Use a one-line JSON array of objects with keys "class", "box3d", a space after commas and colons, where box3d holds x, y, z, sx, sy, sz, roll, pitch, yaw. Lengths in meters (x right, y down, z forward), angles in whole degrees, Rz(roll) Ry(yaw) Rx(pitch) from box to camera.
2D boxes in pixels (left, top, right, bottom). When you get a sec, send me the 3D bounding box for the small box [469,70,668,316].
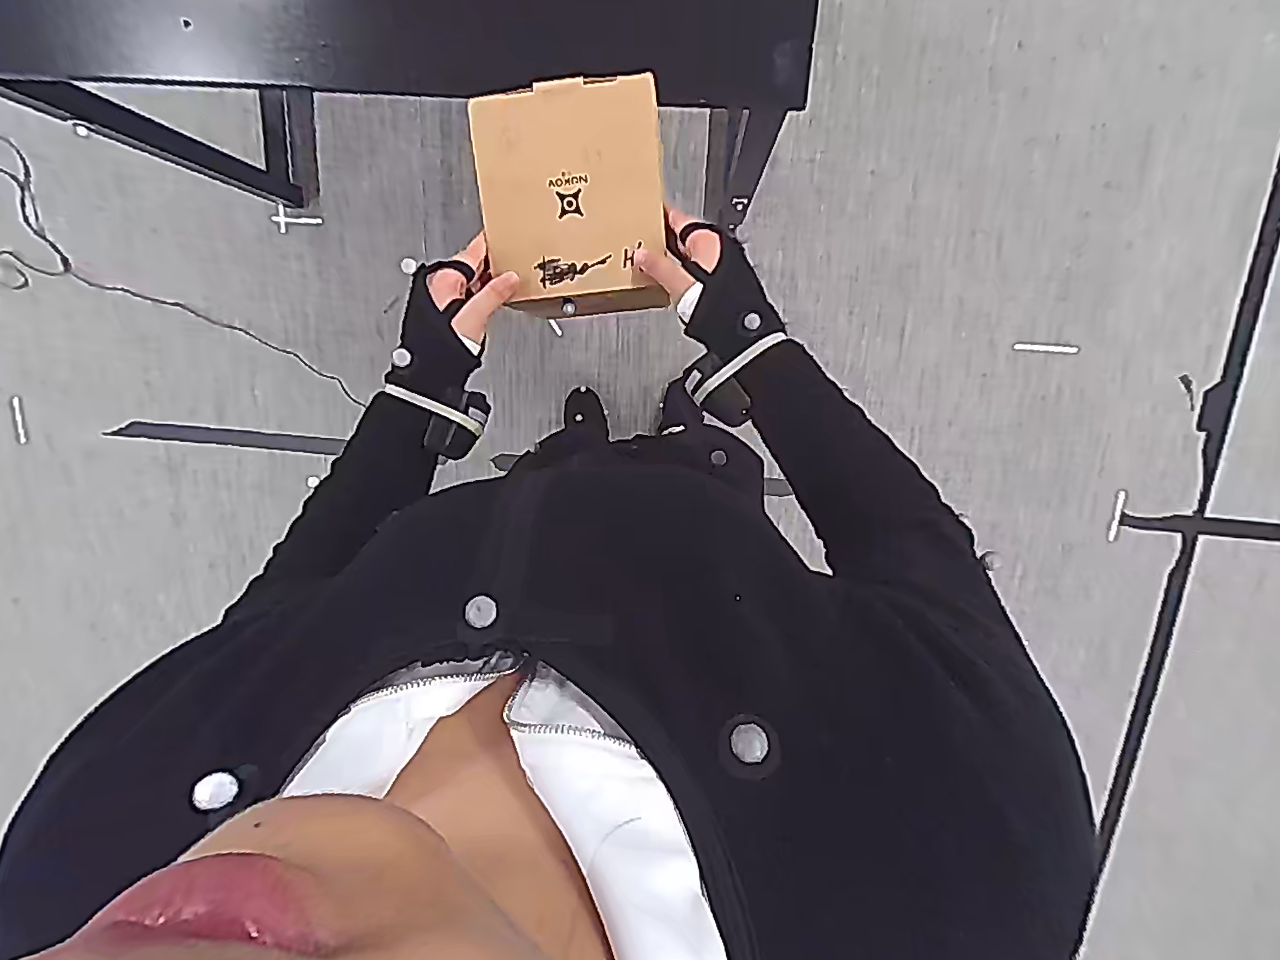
[{"class": "small box", "box3d": [-0.059, -0.275, 0.561, 0.168, 0.176, 0.179, -4, 101, 6]}]
